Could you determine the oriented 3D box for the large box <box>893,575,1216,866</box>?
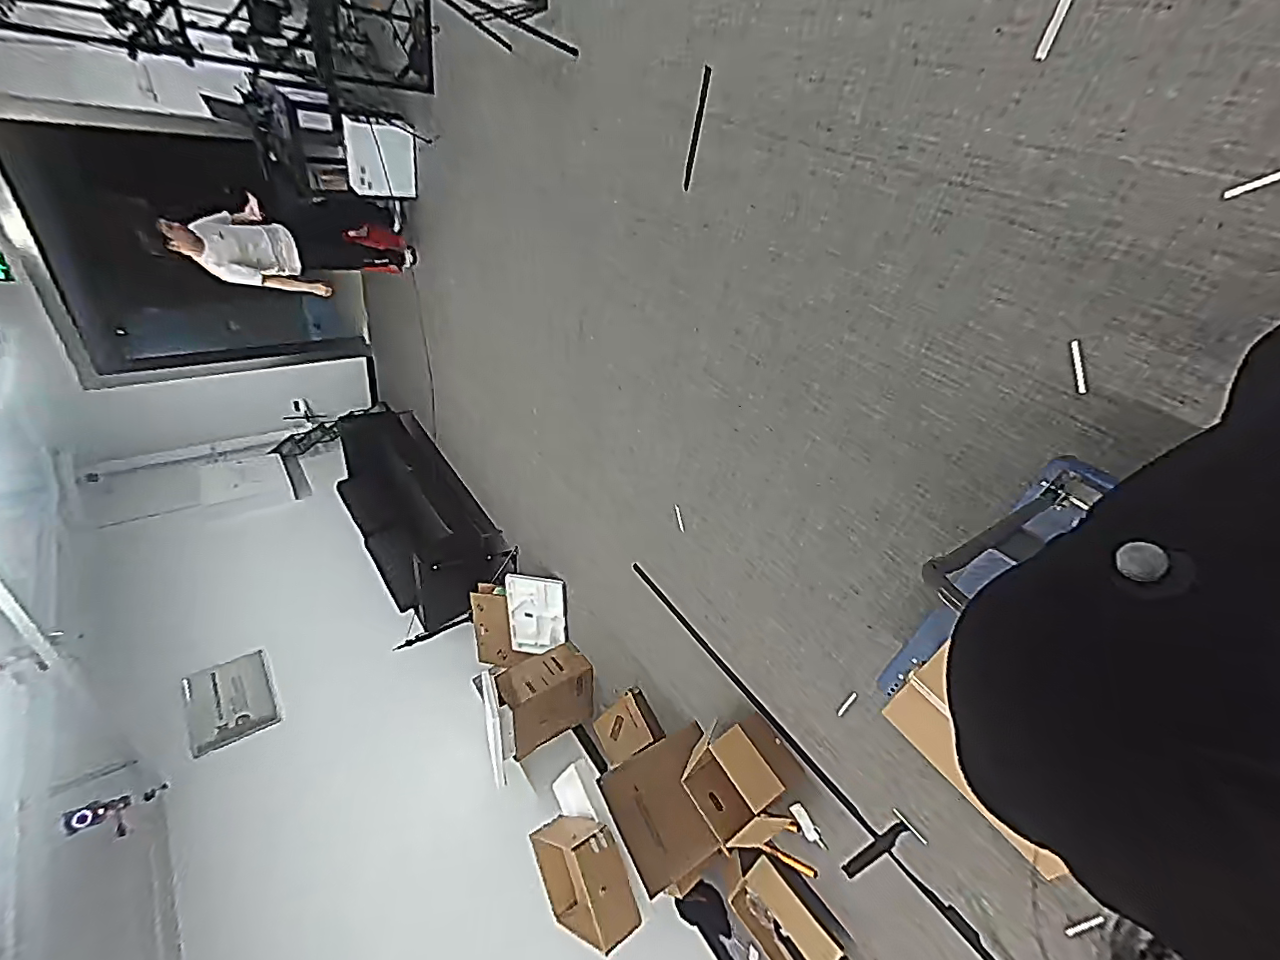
[{"bbox_3d":[0.852,0.481,1.151,0.408,0.320,0.320,44,137,33],"label":"large box"}]
